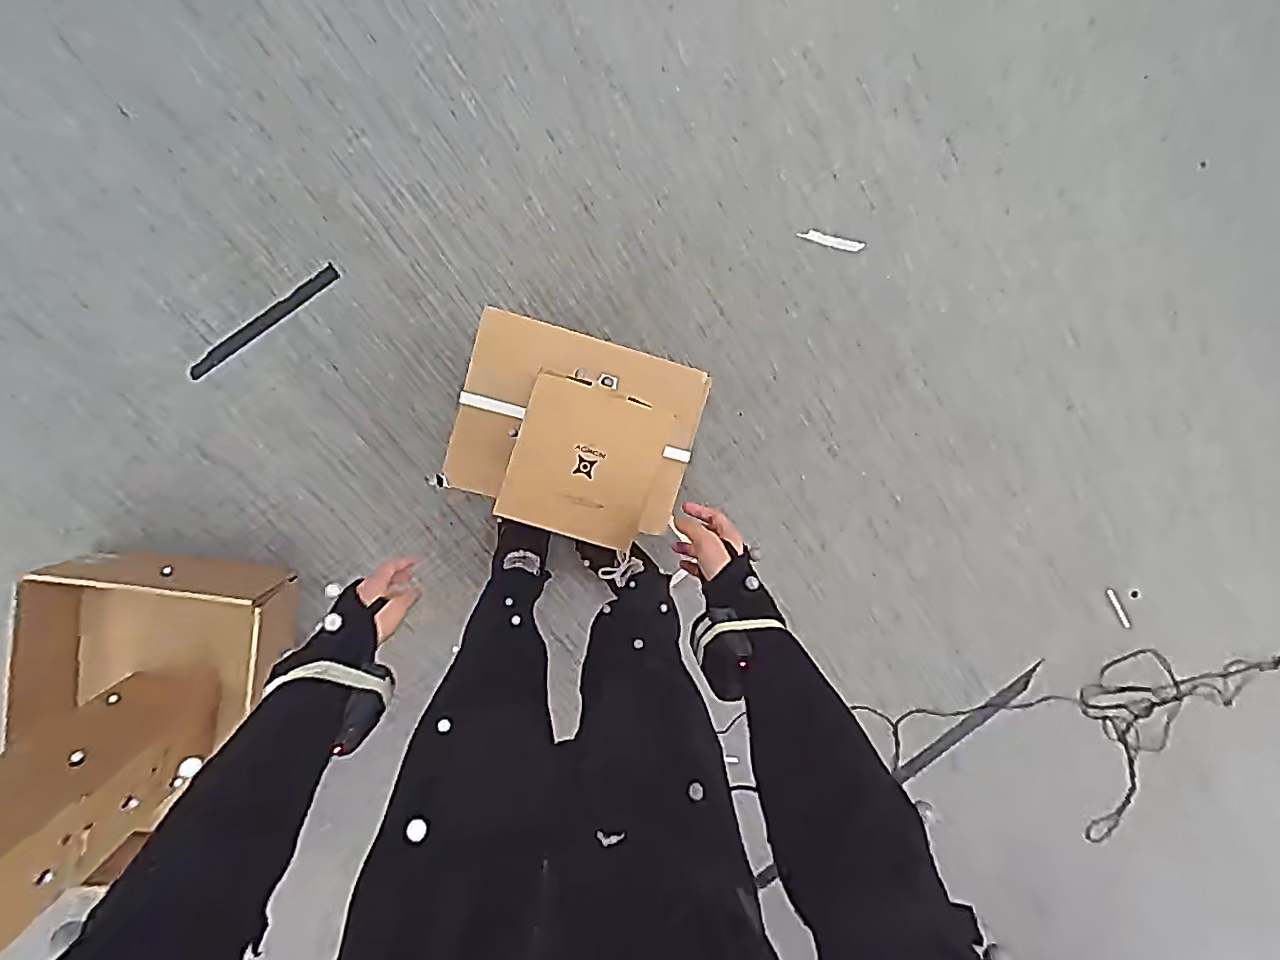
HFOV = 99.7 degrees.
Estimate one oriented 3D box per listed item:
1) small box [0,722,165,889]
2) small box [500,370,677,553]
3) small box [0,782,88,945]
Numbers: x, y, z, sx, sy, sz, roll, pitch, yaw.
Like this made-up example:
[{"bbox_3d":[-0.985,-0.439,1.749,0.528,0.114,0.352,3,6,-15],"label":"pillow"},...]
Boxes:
[{"bbox_3d":[-0.950,0.531,0.900,0.179,0.176,0.168,14,94,-10],"label":"small box"},{"bbox_3d":[-0.070,-0.029,0.698,0.168,0.176,0.179,17,96,-10],"label":"small box"},{"bbox_3d":[-0.932,0.543,0.738,0.179,0.176,0.168,13,95,-10],"label":"small box"}]
